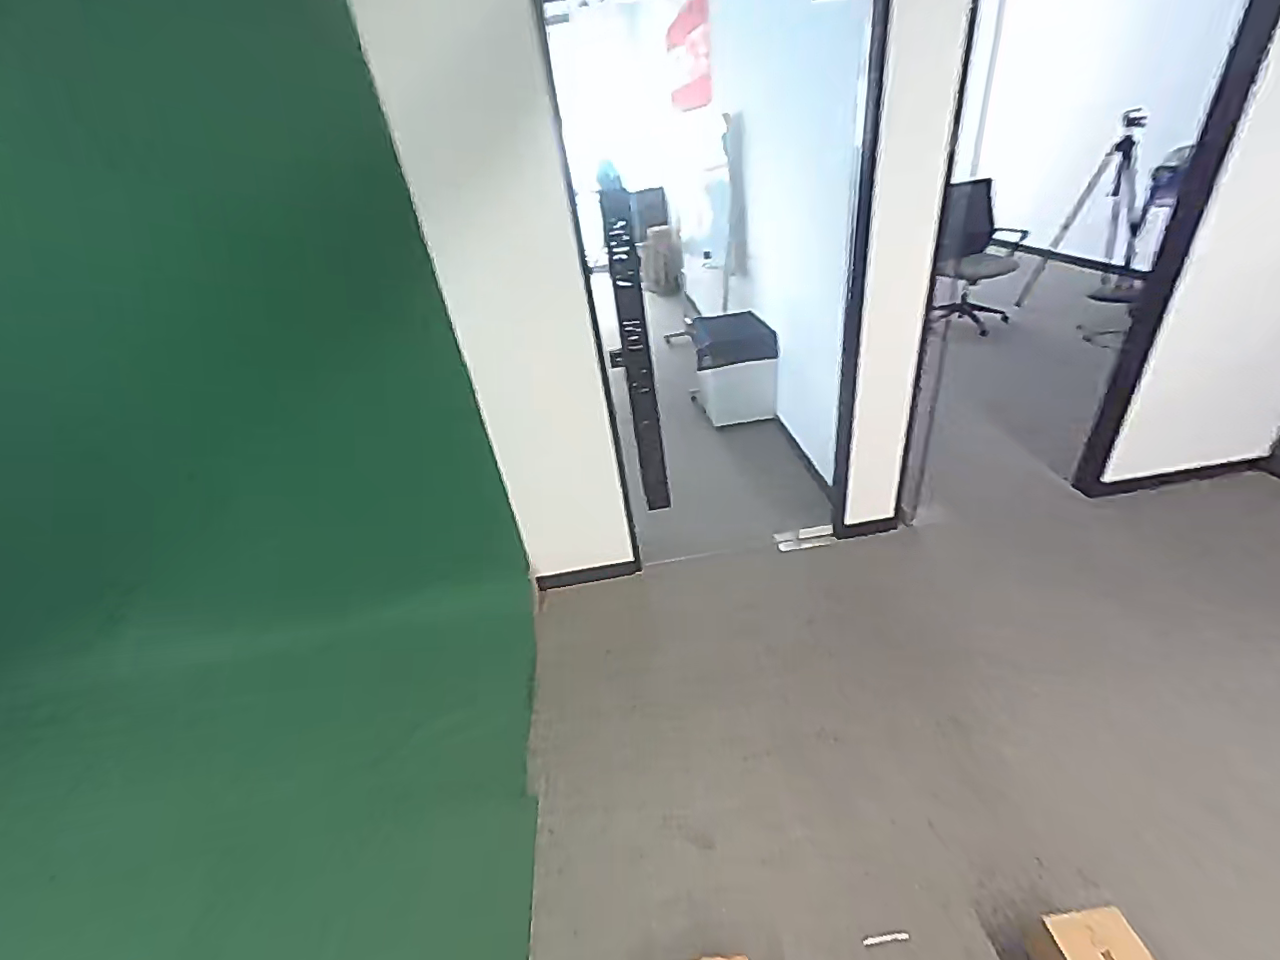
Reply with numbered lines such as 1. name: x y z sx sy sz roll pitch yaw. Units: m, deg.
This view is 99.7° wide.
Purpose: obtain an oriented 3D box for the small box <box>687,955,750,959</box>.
1. small box: 0.170 1.155 1.148 0.168 0.176 0.179 -8 33 3
